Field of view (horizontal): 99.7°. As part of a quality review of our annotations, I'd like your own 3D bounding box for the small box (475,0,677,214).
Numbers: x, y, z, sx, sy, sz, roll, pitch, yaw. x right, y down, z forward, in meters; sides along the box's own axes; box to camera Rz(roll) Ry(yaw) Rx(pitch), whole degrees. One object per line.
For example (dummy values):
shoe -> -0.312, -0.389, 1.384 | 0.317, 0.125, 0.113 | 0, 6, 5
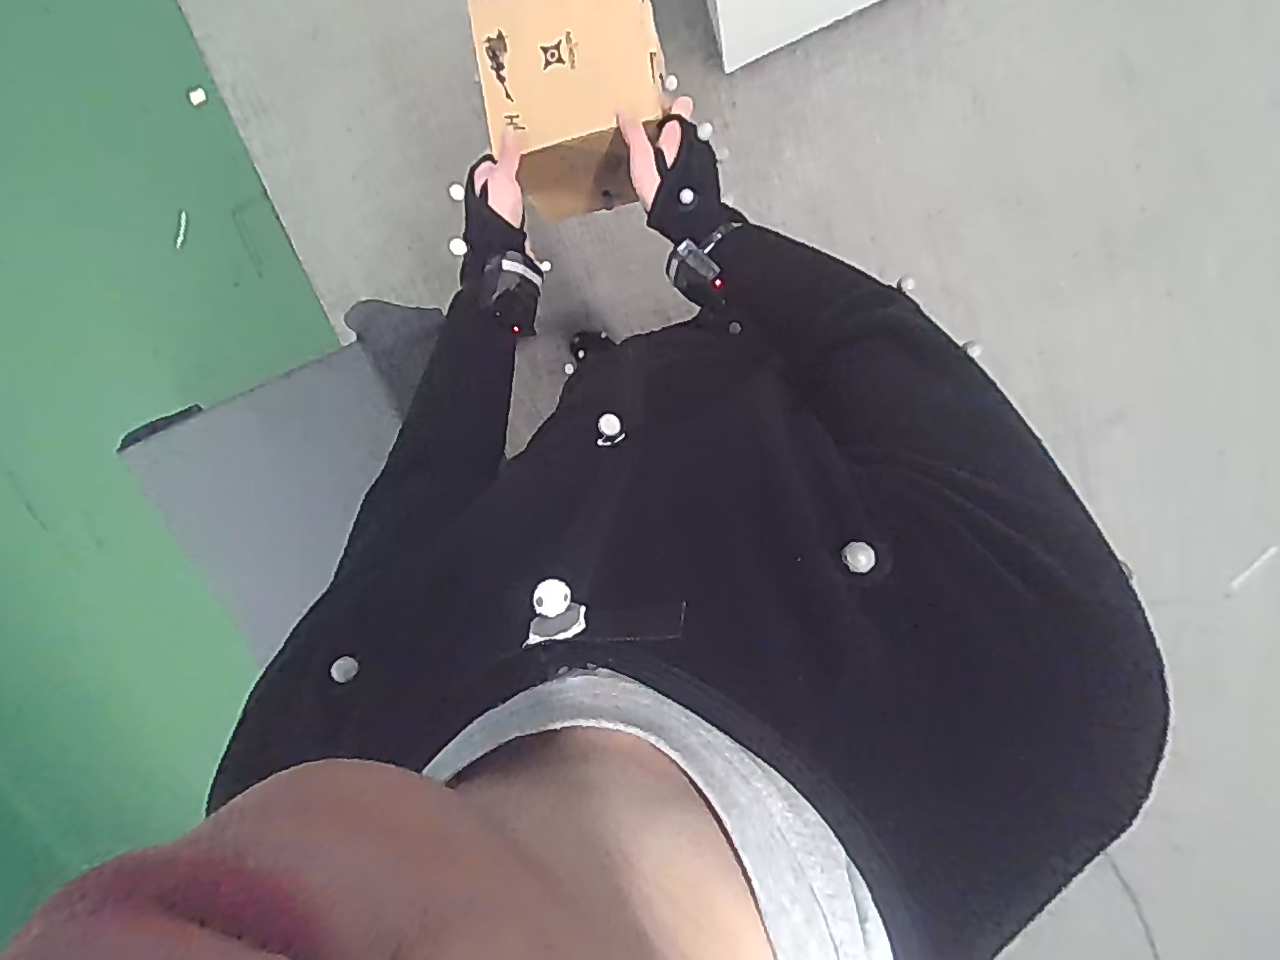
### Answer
small box -> -0.055, -0.417, 0.588 | 0.179, 0.176, 0.168 | -7, 93, 9
